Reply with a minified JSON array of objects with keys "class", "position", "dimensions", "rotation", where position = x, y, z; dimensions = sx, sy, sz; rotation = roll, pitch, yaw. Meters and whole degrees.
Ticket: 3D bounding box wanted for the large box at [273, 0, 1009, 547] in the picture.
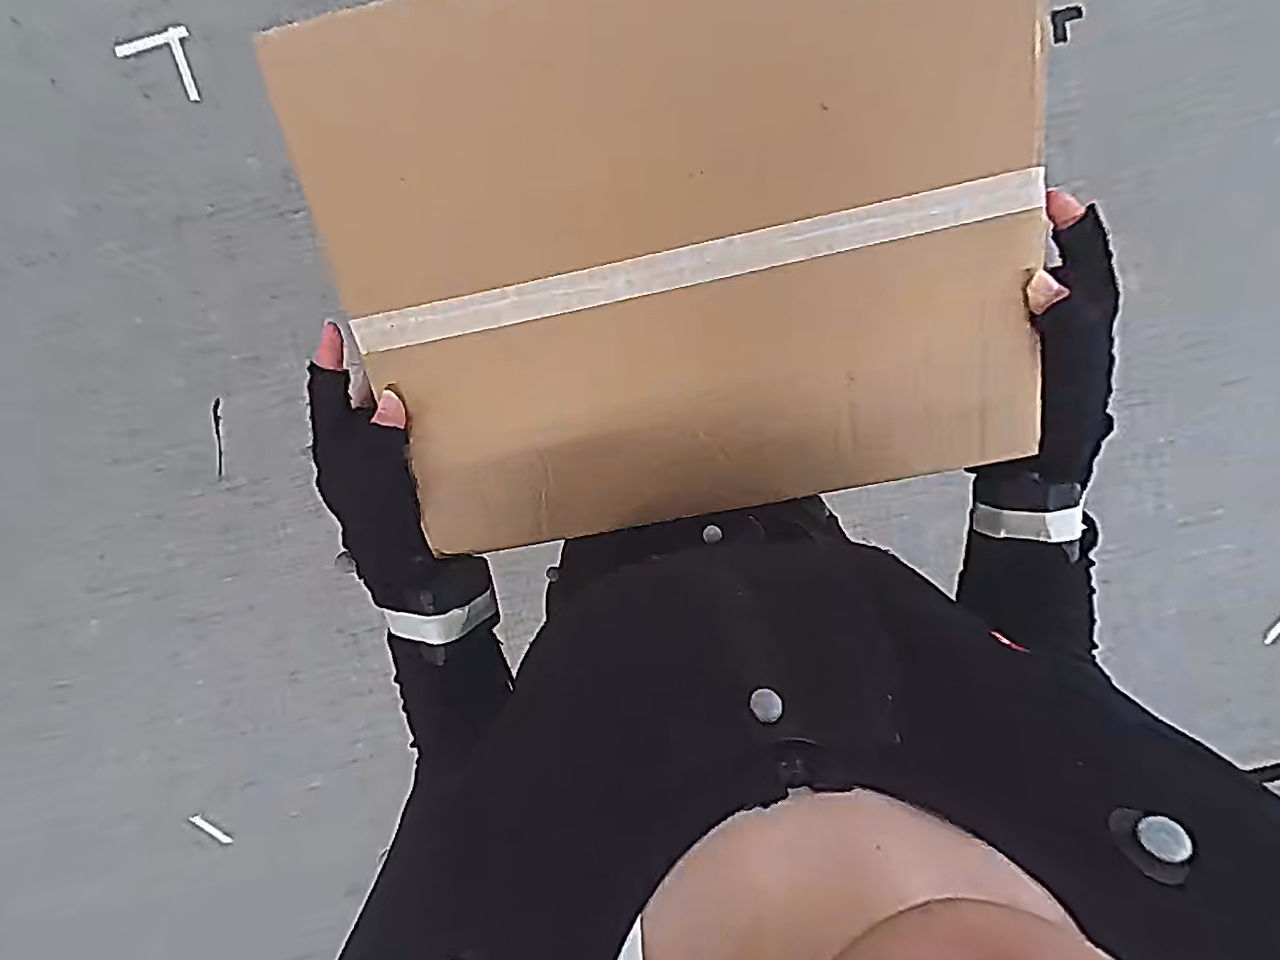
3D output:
[{"class":"large box","position":[0.022,-0.178,0.469],"dimensions":[0.408,0.320,0.320],"rotation":[-11,107,5]}]
